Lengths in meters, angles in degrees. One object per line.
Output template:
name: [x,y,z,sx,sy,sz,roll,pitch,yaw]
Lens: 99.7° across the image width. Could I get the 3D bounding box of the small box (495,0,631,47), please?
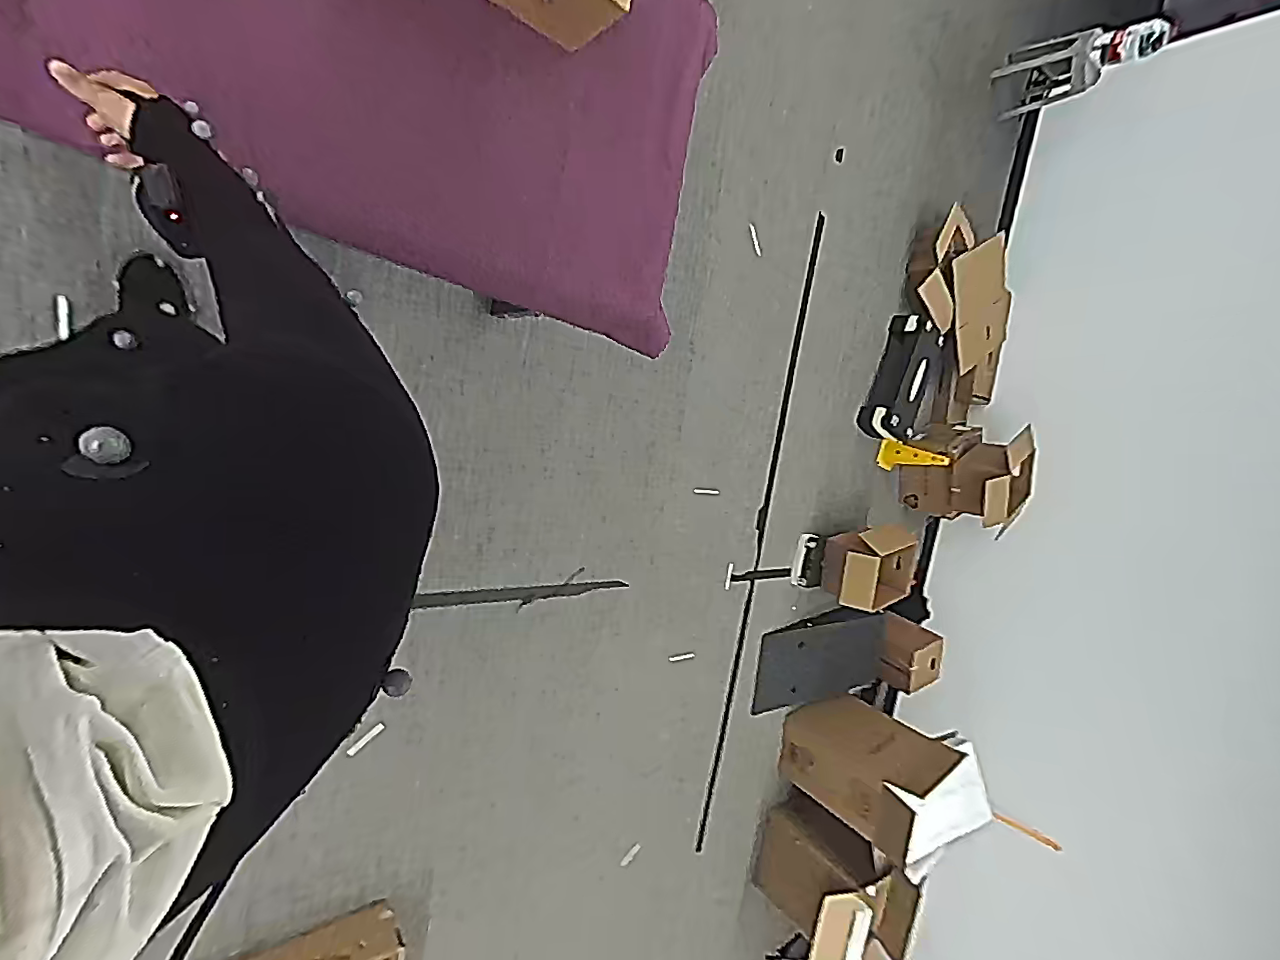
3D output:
small box: [-0.116,-0.776,0.776,0.179,0.176,0.168,4,101,-39]
